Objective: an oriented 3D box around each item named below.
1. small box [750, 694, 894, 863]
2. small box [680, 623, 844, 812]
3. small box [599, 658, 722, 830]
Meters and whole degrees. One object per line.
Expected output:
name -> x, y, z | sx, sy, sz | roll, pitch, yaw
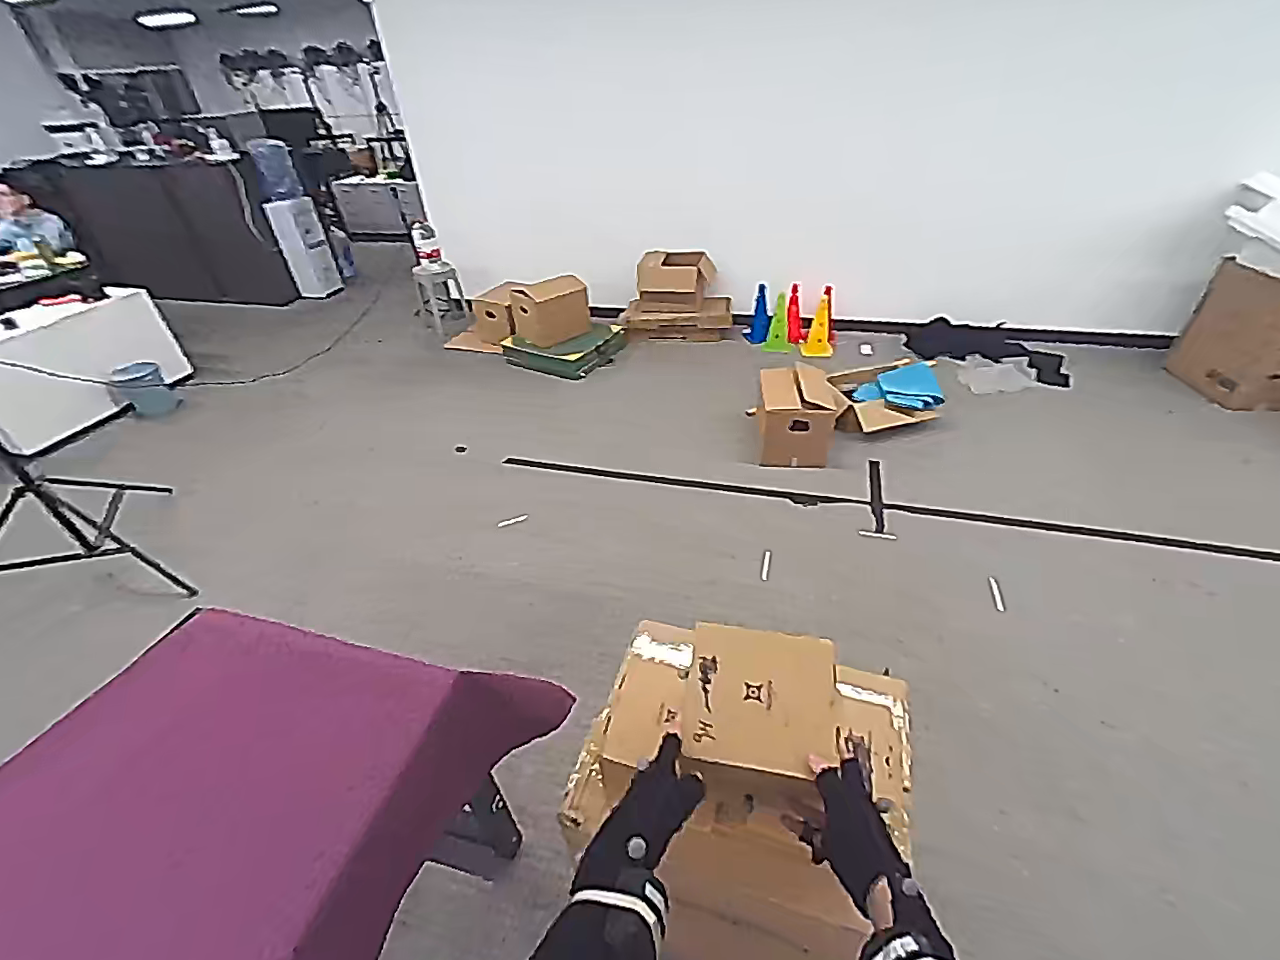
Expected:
small box -> 0.267, 0.431, 0.803 | 0.179, 0.176, 0.168 | 9, 40, 19
small box -> 0.149, 0.307, 0.693 | 0.179, 0.176, 0.168 | 5, 48, 9
small box -> 0.050, 0.413, 0.848 | 0.179, 0.176, 0.168 | 9, 40, 14
